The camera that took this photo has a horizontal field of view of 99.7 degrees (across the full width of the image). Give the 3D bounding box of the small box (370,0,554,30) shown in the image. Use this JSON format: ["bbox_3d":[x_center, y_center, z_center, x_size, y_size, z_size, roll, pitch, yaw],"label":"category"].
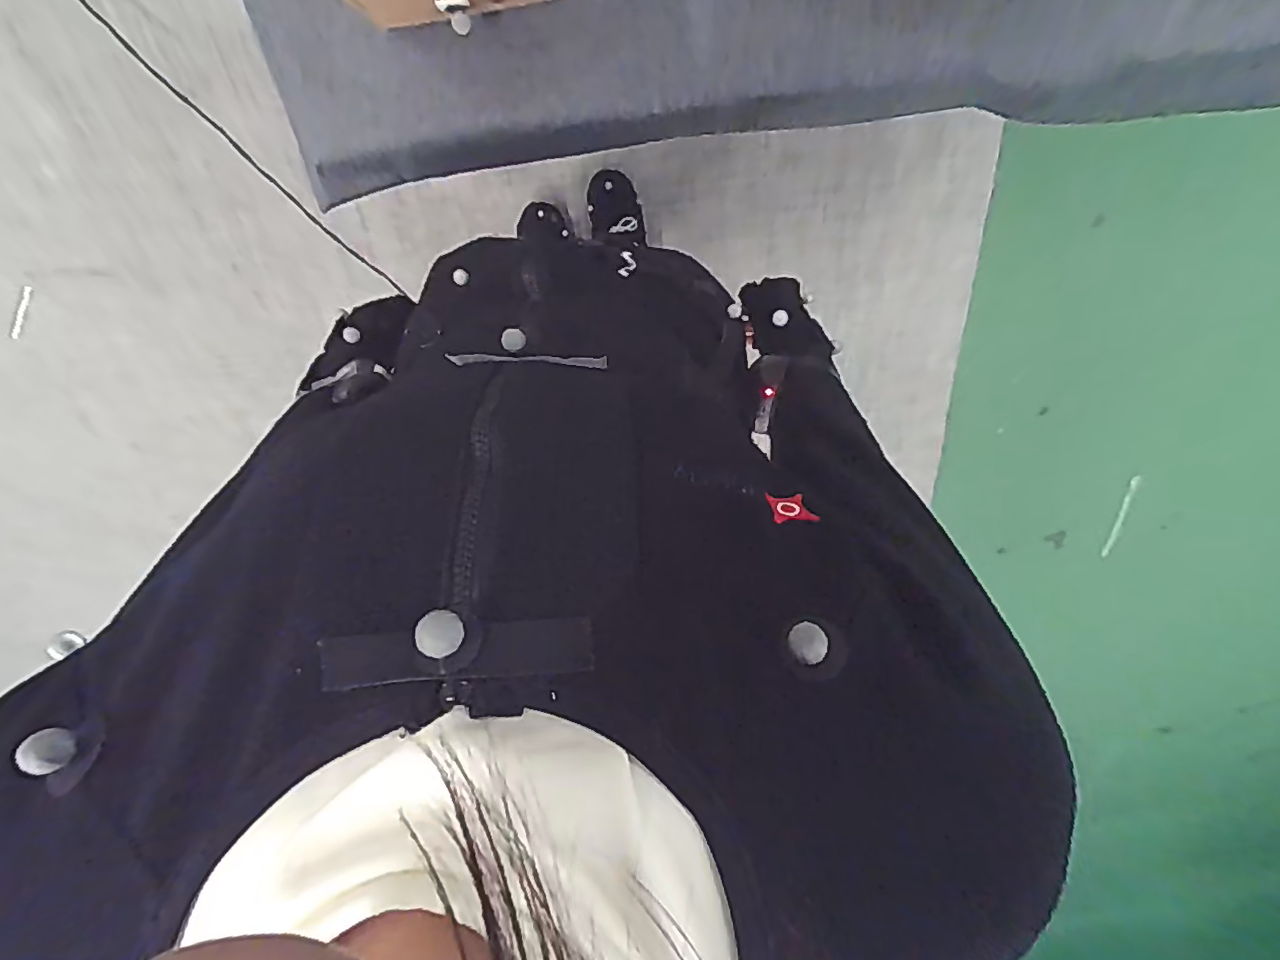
[{"bbox_3d":[-0.147,-0.447,0.365,0.168,0.176,0.179,-11,119,1],"label":"small box"}]
